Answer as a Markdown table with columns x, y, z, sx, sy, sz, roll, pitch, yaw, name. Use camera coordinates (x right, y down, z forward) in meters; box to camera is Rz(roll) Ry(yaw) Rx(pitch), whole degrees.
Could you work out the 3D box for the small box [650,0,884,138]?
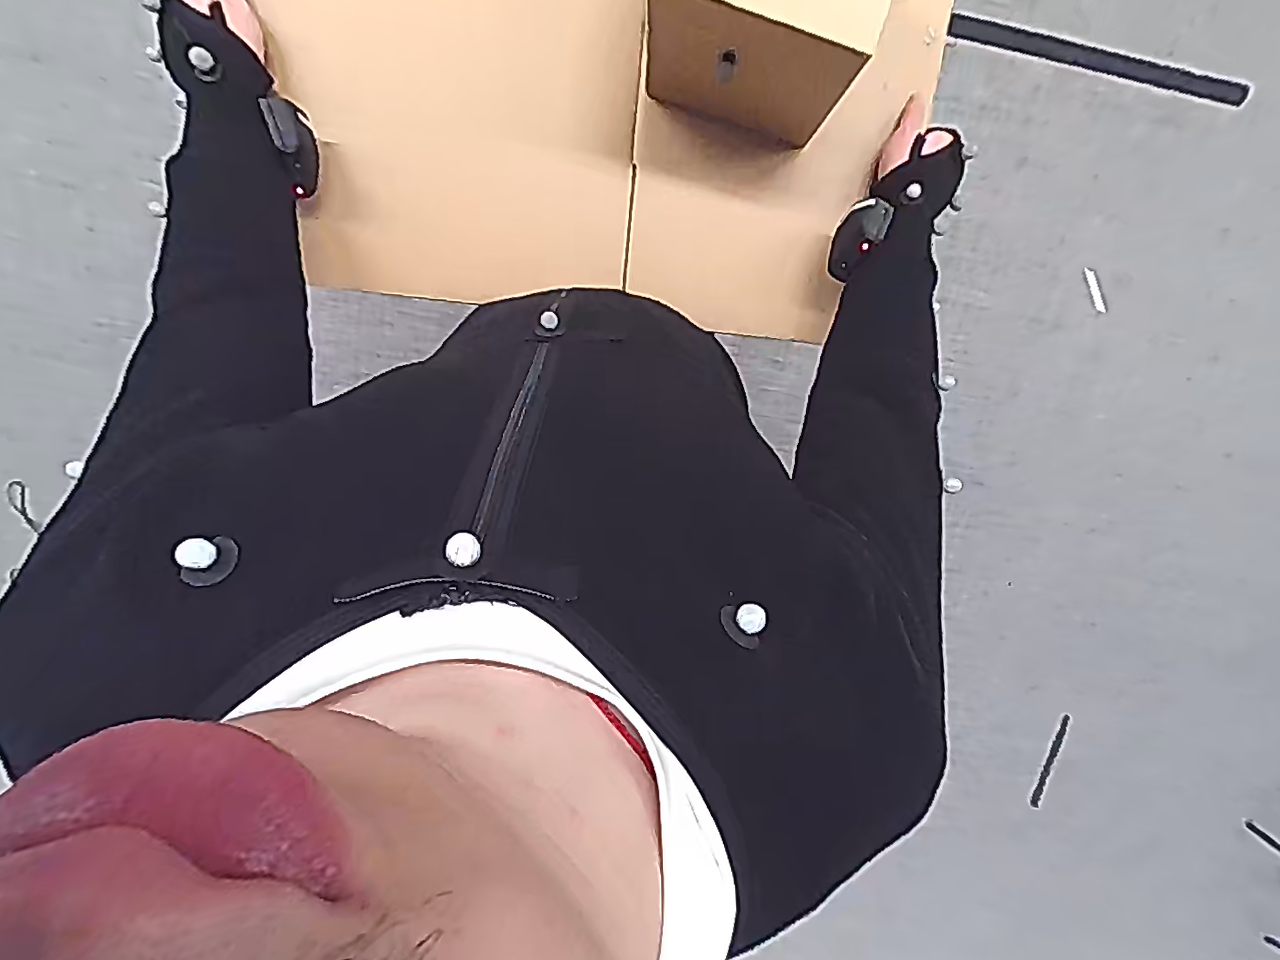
| x | y | z | sx | sy | sz | roll | pitch | yaw | name |
| --- | --- | --- | --- | --- | --- | --- | --- | --- | --- |
| 0.111 | -0.432 | 0.466 | 0.179 | 0.176 | 0.168 | 16 | 101 | -3 | small box |
